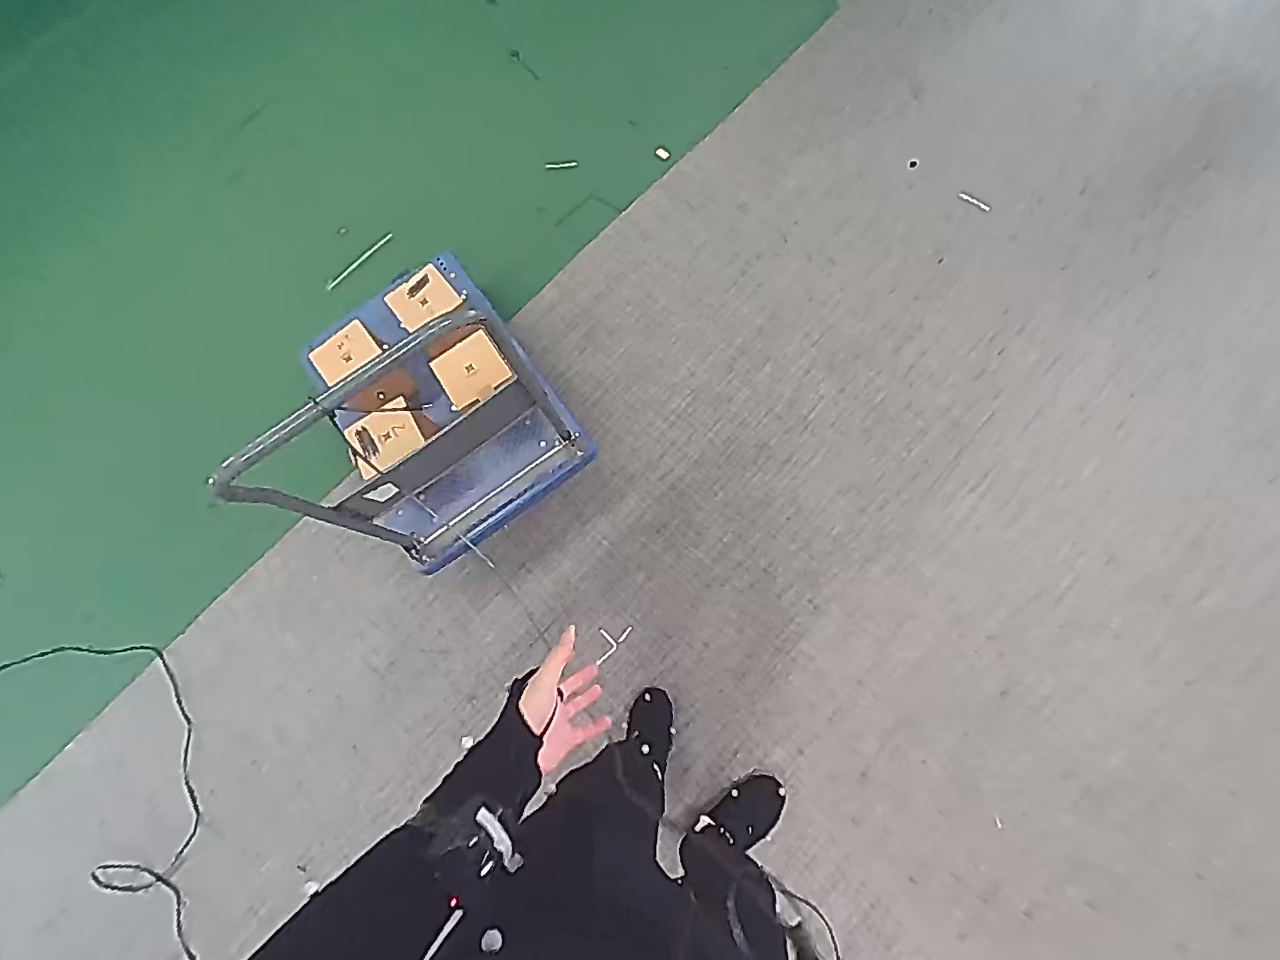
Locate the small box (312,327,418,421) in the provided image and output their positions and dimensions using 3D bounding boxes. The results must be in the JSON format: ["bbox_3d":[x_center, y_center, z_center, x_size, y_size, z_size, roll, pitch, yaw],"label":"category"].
[{"bbox_3d":[-0.764,-0.286,1.520,0.168,0.176,0.179,-39,71,-5],"label":"small box"}]

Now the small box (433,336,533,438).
[{"bbox_3d":[-0.416,-0.242,1.454,0.168,0.176,0.179,-35,71,-3],"label":"small box"}]

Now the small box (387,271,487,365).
[{"bbox_3d":[-0.571,-0.446,1.541,0.168,0.176,0.179,-39,72,-4],"label":"small box"}]
